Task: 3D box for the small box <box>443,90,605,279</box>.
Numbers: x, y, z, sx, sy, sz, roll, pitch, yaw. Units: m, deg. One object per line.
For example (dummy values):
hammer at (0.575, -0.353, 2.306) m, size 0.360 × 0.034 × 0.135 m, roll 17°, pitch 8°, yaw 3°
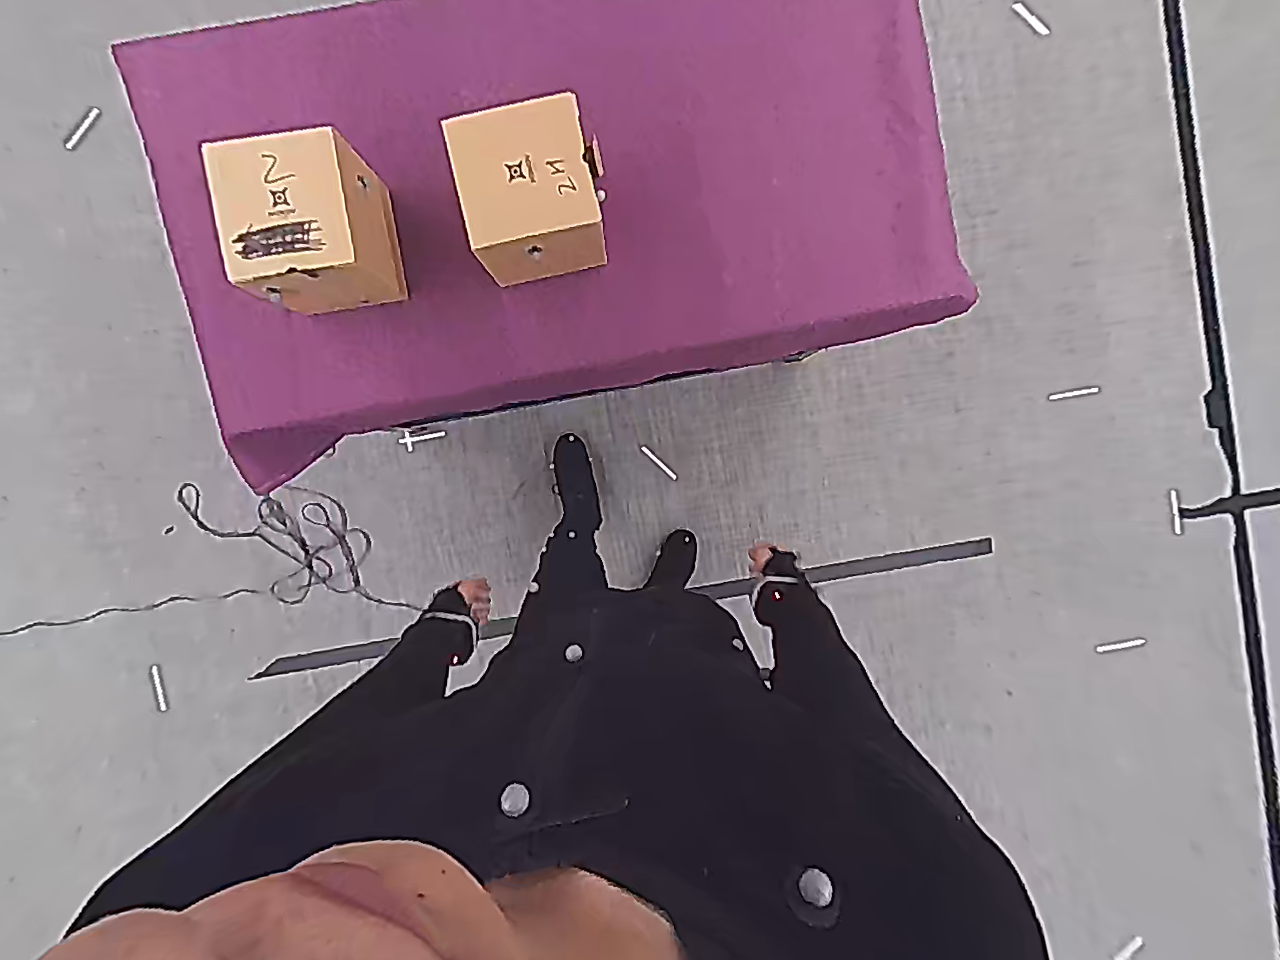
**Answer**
small box at (-0.153, -0.405, 0.772) m, size 0.179 × 0.176 × 0.168 m, roll -13°, pitch 94°, yaw -1°
